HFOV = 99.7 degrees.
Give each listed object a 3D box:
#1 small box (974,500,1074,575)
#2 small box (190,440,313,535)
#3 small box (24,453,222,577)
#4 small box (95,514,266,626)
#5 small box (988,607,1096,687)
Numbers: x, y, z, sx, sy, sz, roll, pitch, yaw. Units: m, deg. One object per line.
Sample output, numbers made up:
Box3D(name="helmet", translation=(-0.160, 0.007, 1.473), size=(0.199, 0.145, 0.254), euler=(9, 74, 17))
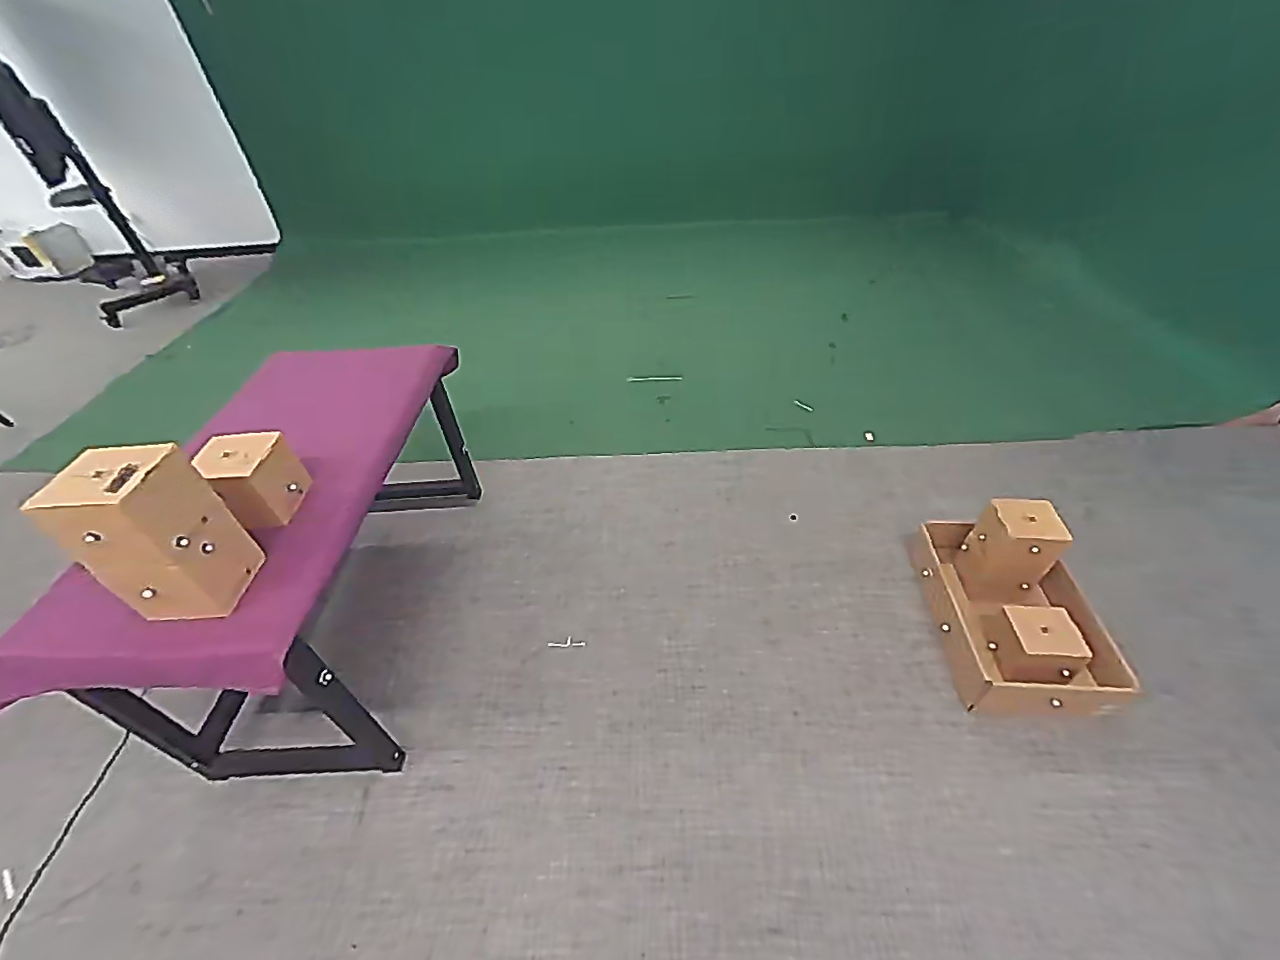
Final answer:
Box3D(name="small box", translation=(1.193, 0.182, 1.695), size=(0.179, 0.176, 0.168), euler=(1, 43, 6))
Box3D(name="small box", translation=(-0.951, 0.023, 1.321), size=(0.179, 0.176, 0.168), euler=(-4, 42, 1))
Box3D(name="small box", translation=(-0.956, 0.068, 1.025), size=(0.179, 0.176, 0.168), euler=(-4, 41, 2))
Box3D(name="small box", translation=(-0.946, 0.191, 1.134), size=(0.179, 0.176, 0.168), euler=(-4, 42, 2))
Box3D(name="small box", translation=(1.173, 0.495, 1.595), size=(0.179, 0.176, 0.168), euler=(0, 41, 6))
